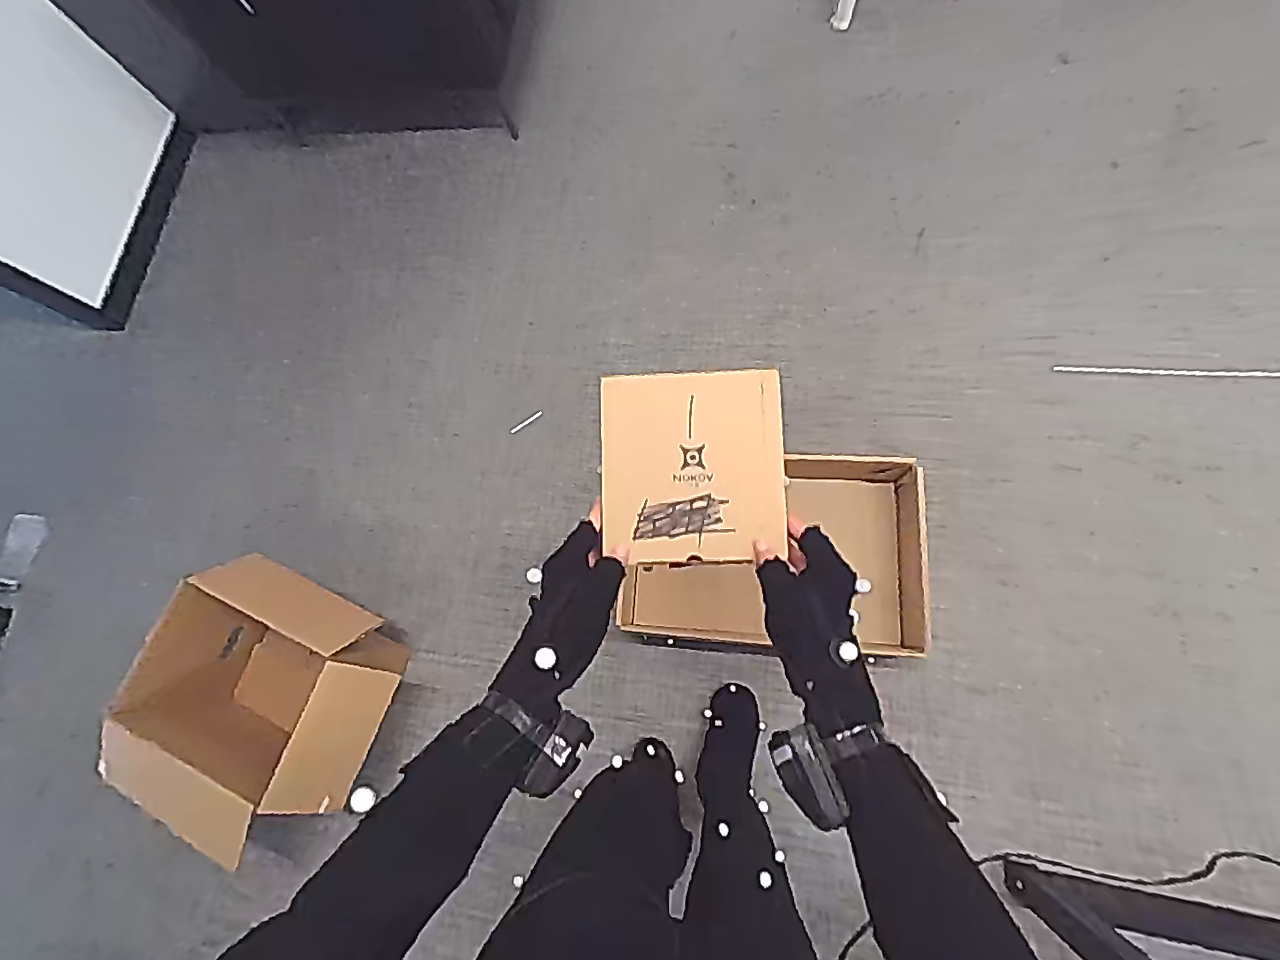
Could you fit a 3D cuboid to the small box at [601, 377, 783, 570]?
[{"bbox_3d":[0.053,0.002,0.570,0.168,0.176,0.179,-1,82,4],"label":"small box"}]
